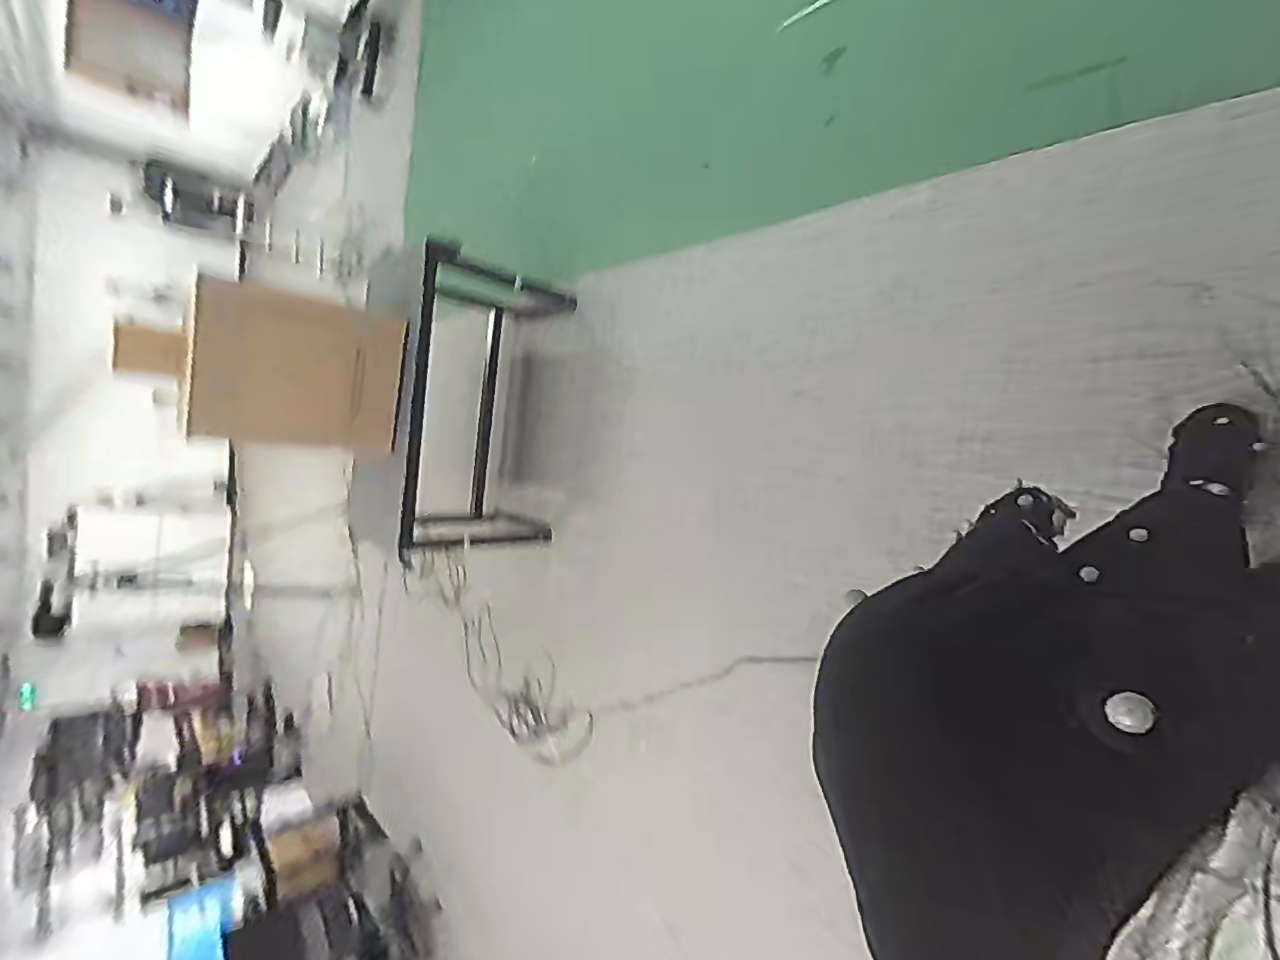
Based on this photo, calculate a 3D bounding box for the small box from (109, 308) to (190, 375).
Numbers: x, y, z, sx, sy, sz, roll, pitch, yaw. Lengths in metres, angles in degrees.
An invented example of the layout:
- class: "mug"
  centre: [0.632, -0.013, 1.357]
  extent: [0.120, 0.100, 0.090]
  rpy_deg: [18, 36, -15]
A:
- class: "small box"
  centre: [-1.509, -0.422, 1.662]
  extent: [0.179, 0.176, 0.168]
  rpy_deg: [19, 102, 42]
